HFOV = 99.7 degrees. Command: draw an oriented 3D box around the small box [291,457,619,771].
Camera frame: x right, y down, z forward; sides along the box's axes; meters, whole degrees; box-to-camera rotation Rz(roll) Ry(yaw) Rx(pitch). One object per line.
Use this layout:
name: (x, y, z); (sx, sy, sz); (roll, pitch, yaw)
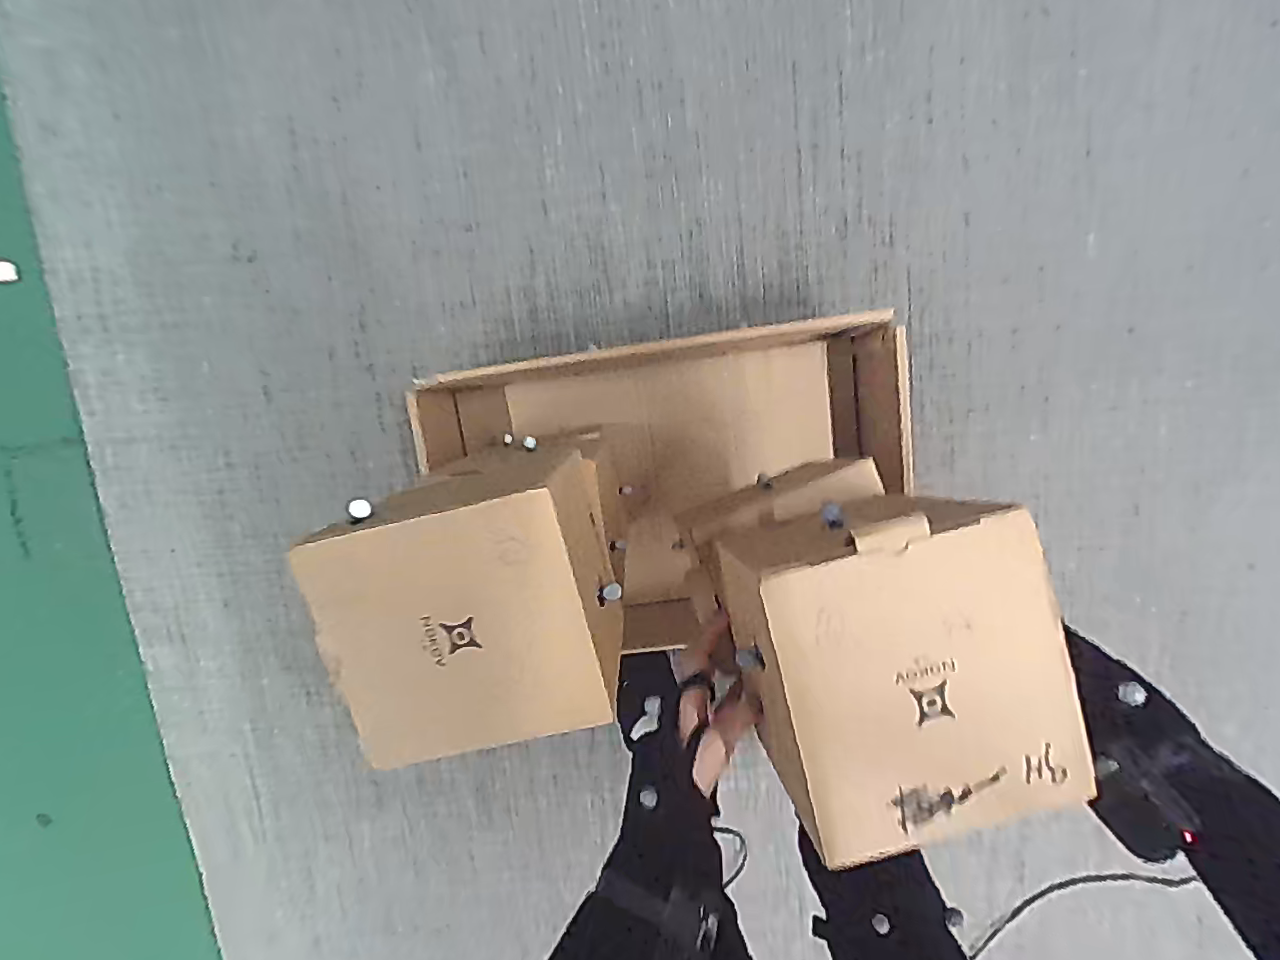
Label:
small box: (-0.117, 0.087, 0.427); (0.179, 0.176, 0.168); (-14, 100, 4)

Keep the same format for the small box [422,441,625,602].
small box: (-0.109, 0.061, 0.588); (0.168, 0.176, 0.179); (-7, 100, 2)

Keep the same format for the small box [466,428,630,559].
small box: (-0.114, 0.027, 0.748); (0.179, 0.176, 0.168); (-11, 100, 2)

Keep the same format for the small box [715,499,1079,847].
small box: (0.161, 0.114, 0.399); (0.168, 0.176, 0.179); (-13, 91, -1)

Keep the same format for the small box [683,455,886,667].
small box: (0.151, 0.083, 0.562); (0.179, 0.176, 0.168); (-21, 91, -1)
